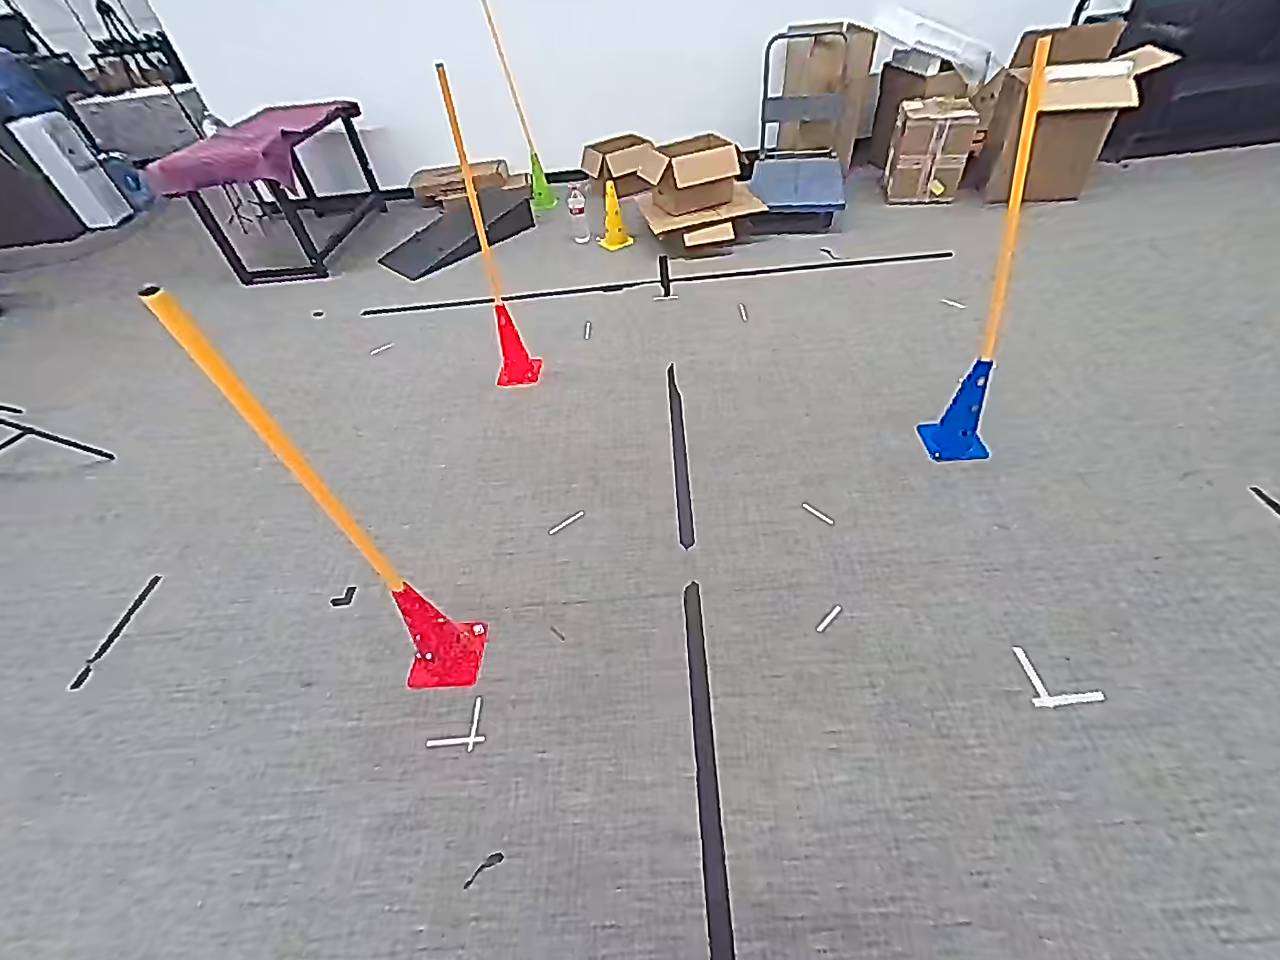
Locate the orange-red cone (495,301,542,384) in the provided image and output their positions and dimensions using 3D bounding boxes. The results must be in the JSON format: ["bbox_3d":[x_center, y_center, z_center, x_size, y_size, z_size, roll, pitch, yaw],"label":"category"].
[{"bbox_3d":[-0.586,-0.632,2.423,0.198,0.360,0.199,-2,45,5],"label":"orange-red cone"}]

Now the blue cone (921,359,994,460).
[{"bbox_3d":[1.135,-0.256,1.871,0.193,0.380,0.192,-2,47,6],"label":"blue cone"}]
